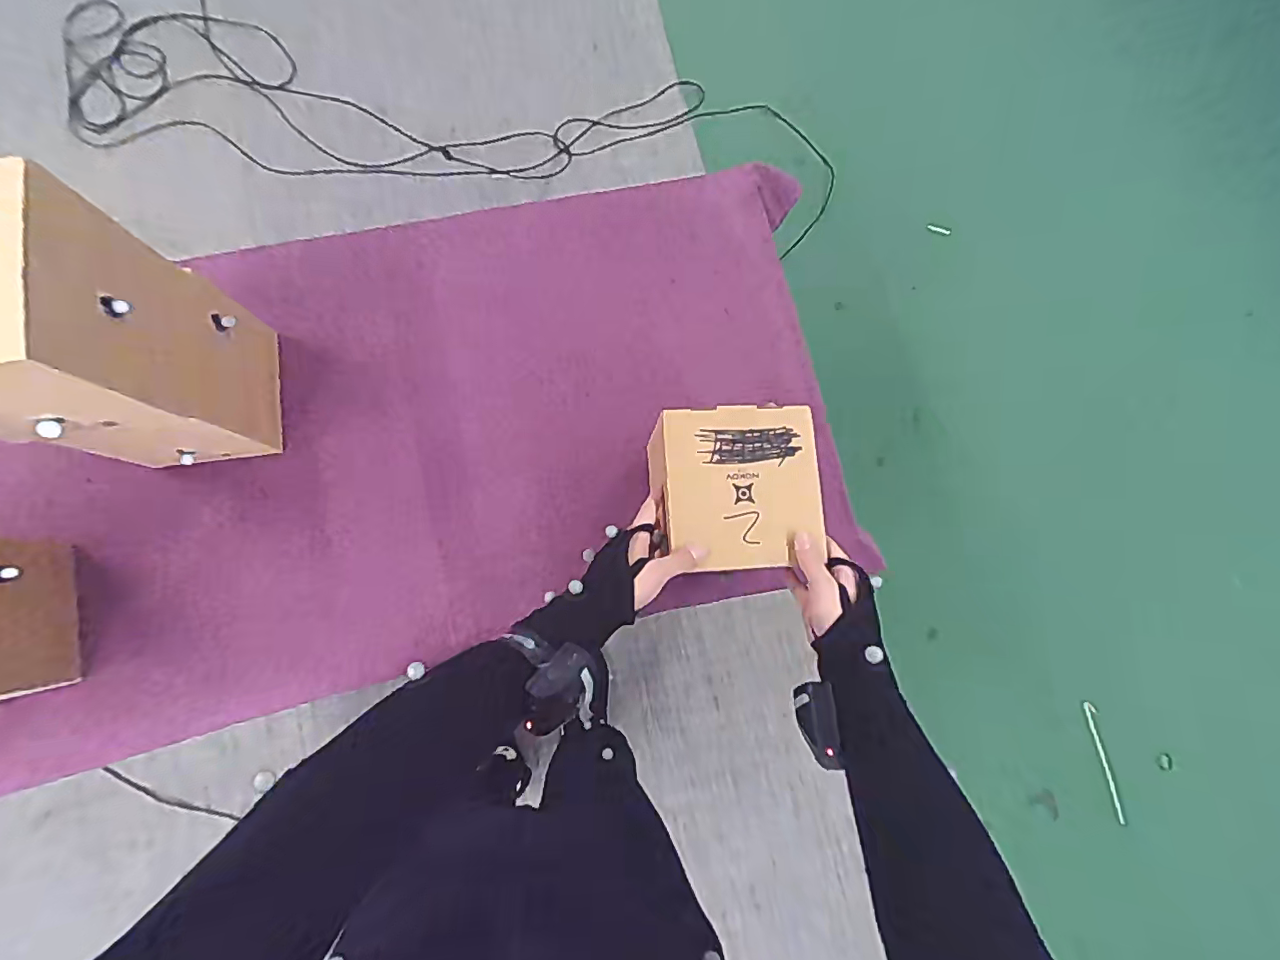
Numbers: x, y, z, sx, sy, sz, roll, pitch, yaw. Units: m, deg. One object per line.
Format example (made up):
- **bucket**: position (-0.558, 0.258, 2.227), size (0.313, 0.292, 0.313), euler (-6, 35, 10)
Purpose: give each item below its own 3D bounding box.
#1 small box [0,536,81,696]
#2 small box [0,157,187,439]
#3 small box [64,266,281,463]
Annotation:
- **small box**: position (-0.770, 0.159, 0.585), size (0.168, 0.176, 0.179), euler (-12, 81, -6)
- **small box**: position (-0.556, -0.149, 0.487), size (0.168, 0.176, 0.179), euler (-9, 82, -6)
- **small box**: position (-0.564, -0.129, 0.650), size (0.168, 0.176, 0.179), euler (-7, 82, -6)
